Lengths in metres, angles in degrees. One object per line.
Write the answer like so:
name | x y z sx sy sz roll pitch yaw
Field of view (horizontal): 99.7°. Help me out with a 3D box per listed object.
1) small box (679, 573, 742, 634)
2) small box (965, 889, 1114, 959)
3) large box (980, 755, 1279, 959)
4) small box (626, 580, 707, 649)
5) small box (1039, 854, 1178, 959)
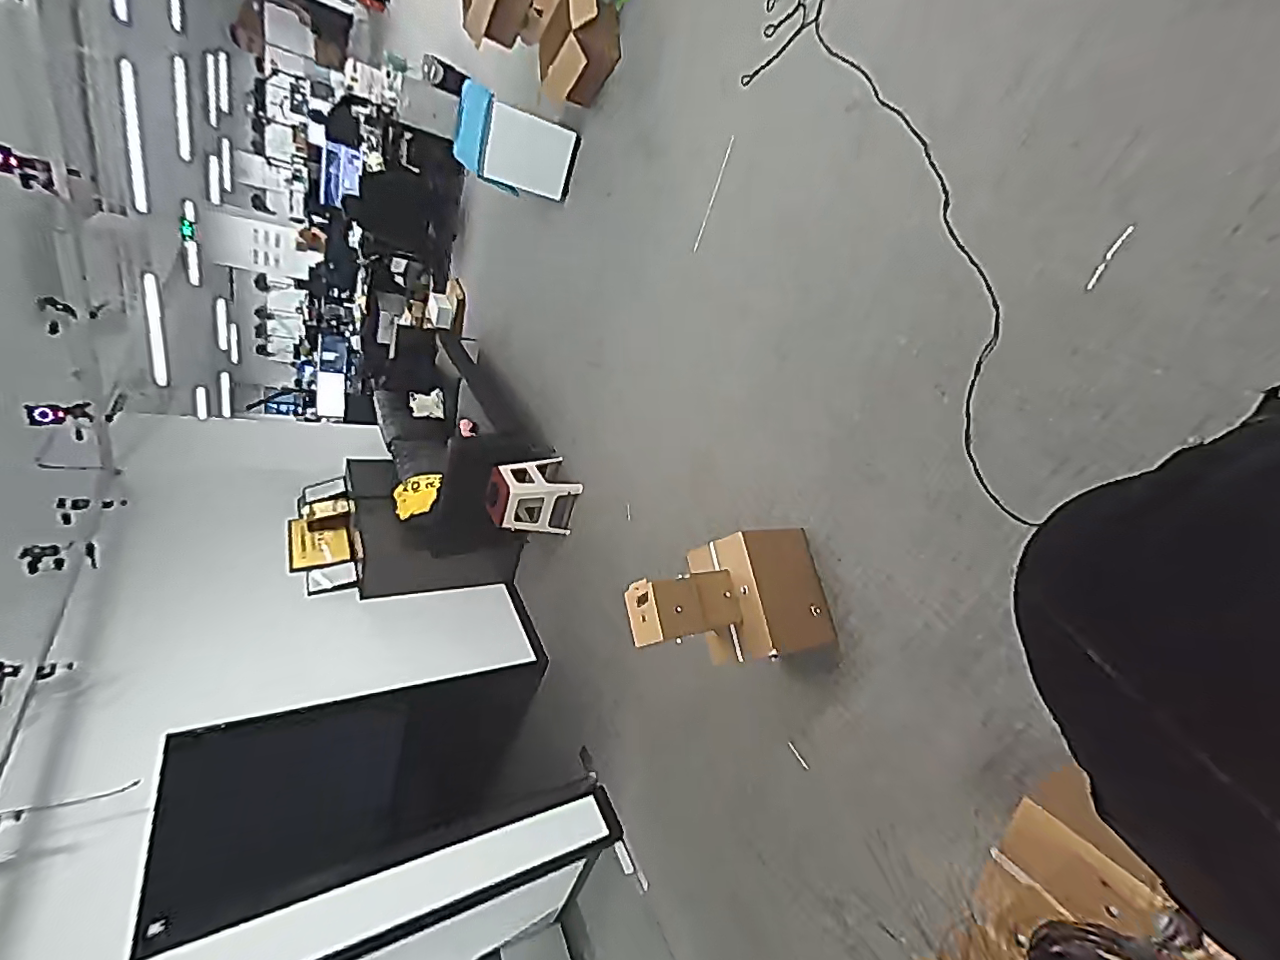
small box | 0.208 0.413 1.789 0.168 0.176 0.179 -42 55 49
small box | 0.643 0.808 0.856 0.179 0.176 0.168 42 124 49
large box | 0.991 0.842 1.067 0.408 0.320 0.320 32 117 50
small box | 0.081 0.415 1.683 0.168 0.176 0.179 -36 62 51
small box | 0.780 0.804 0.941 0.168 0.176 0.179 41 122 49
